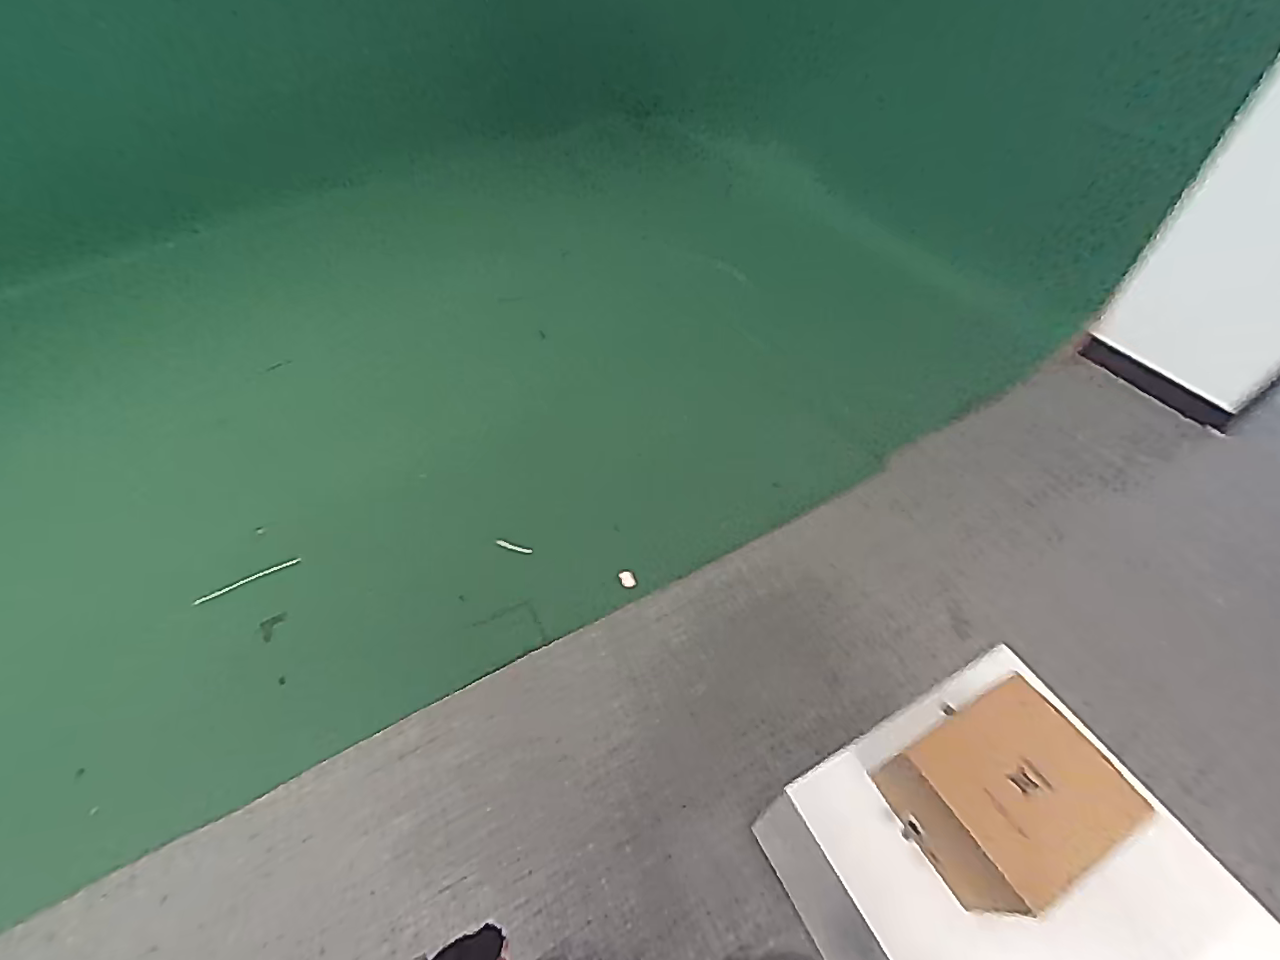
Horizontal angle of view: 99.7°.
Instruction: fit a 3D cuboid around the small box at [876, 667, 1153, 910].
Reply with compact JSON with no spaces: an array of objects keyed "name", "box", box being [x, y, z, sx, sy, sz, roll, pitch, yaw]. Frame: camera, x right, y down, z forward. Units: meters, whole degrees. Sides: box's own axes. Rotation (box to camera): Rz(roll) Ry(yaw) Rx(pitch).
[{"name":"small box","box":[0.408,0.353,0.628,0.179,0.176,0.168,-28,55,-12]}]
